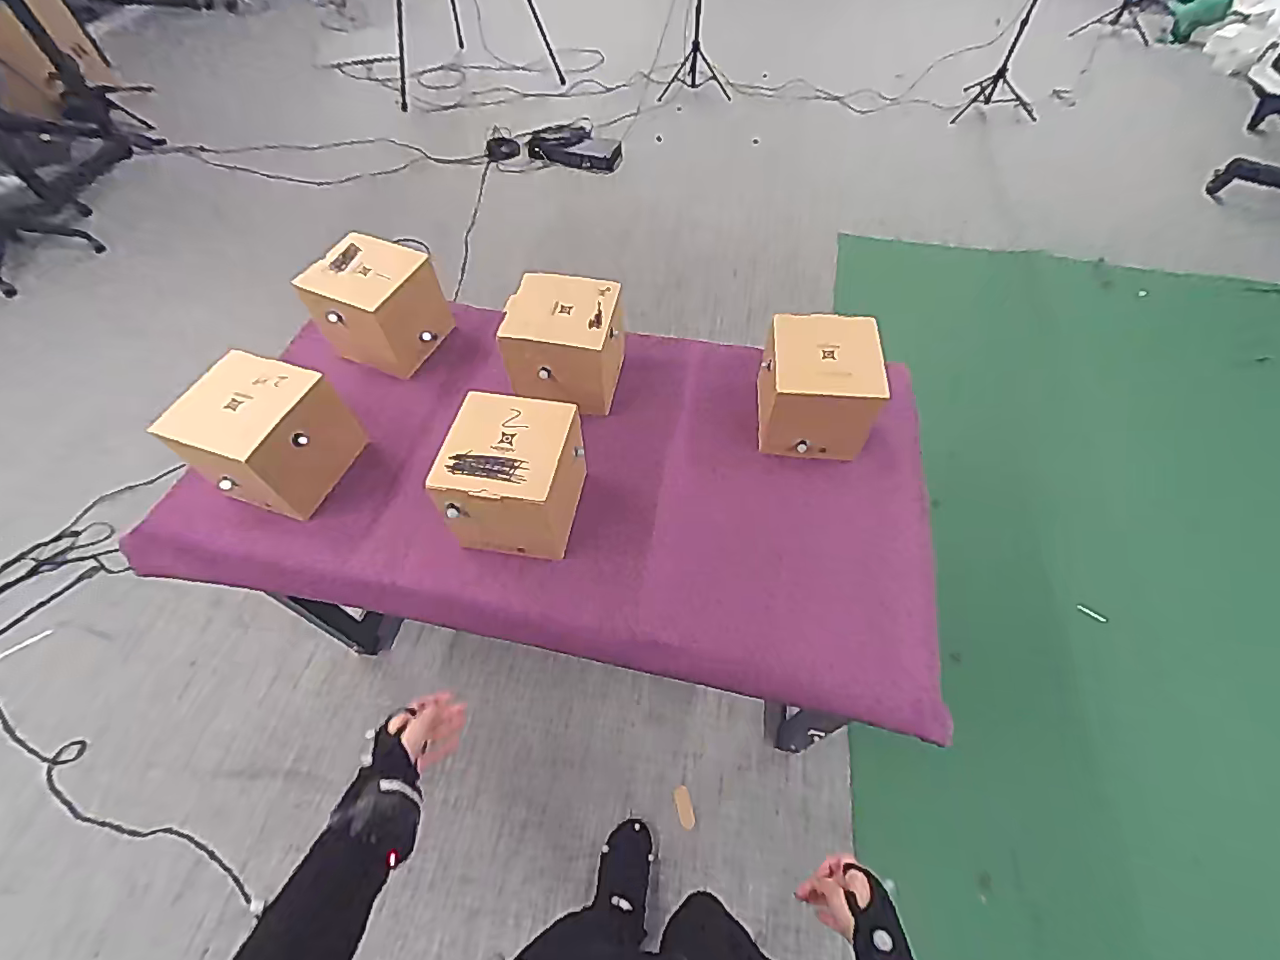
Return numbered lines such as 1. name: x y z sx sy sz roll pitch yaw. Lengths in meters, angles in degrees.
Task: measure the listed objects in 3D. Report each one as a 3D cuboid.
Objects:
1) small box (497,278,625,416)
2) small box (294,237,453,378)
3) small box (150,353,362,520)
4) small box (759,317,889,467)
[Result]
1. small box: -0.128 -0.231 0.959 0.179 0.176 0.168 8 58 6
2. small box: -0.484 -0.318 1.012 0.179 0.176 0.168 21 60 11
3. small box: -0.574 -0.063 0.841 0.168 0.176 0.179 16 57 10
4. small box: 0.293 -0.145 0.904 0.168 0.176 0.179 5 58 5
